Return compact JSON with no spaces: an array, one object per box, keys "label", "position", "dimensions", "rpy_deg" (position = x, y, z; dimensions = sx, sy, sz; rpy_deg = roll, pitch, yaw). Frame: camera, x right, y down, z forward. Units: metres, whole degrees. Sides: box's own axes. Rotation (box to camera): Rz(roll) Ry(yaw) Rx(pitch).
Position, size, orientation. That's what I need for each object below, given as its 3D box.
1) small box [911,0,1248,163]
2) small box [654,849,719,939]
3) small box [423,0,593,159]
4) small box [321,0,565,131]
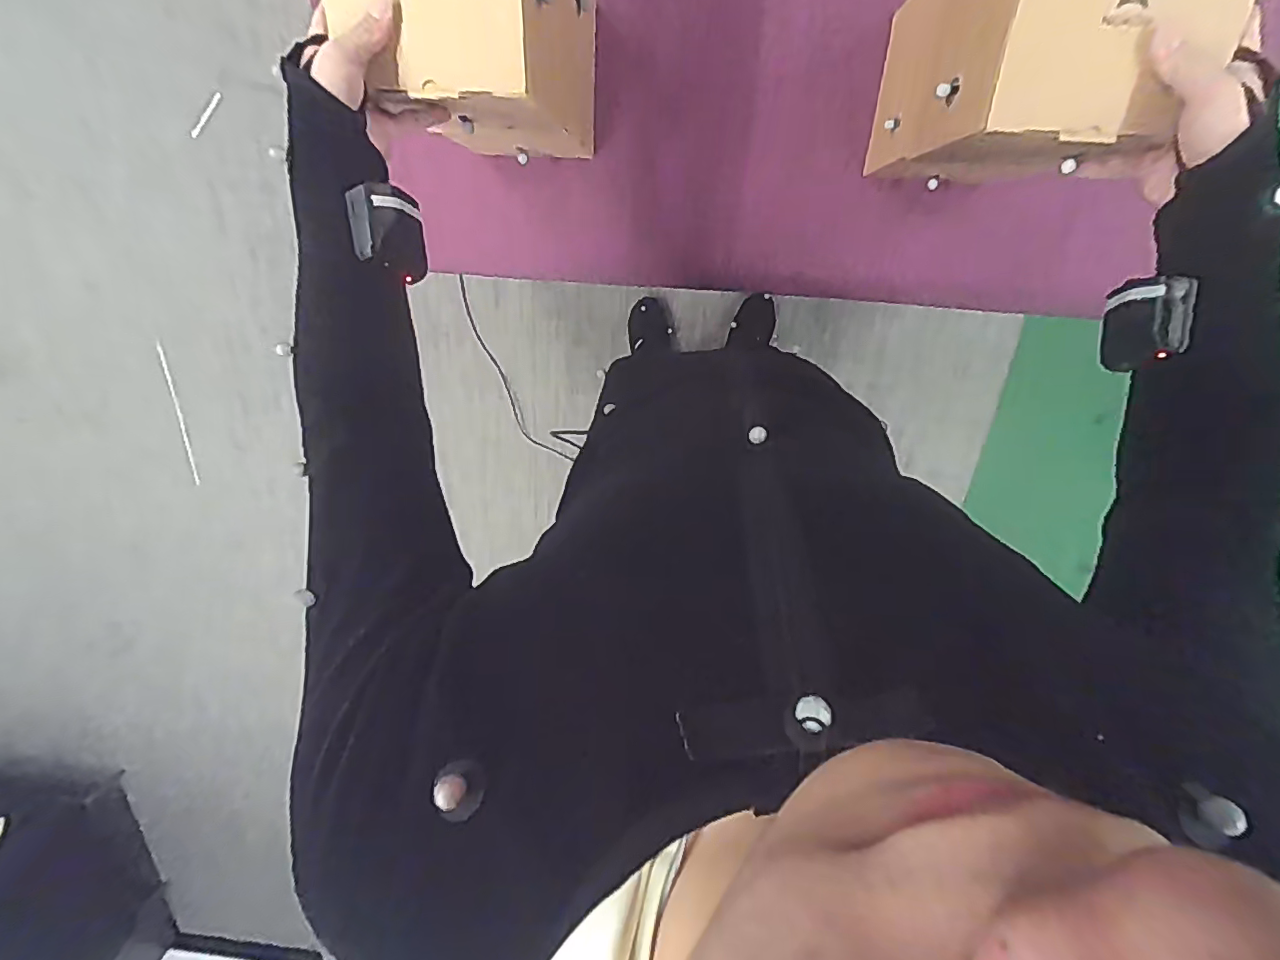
[{"label":"small box","position":[0.356,-0.382,0.460],"dimensions":[0.168,0.176,0.179],"rpy_deg":[5,113,3]},{"label":"small box","position":[0.153,1.367,1.793],"dimensions":[0.179,0.176,0.168],"rpy_deg":[14,113,-1]},{"label":"small box","position":[-0.152,-0.500,0.643],"dimensions":[0.168,0.176,0.179],"rpy_deg":[5,113,4]},{"label":"small box","position":[-0.168,-0.437,0.492],"dimensions":[0.168,0.176,0.179],"rpy_deg":[4,115,5]}]
